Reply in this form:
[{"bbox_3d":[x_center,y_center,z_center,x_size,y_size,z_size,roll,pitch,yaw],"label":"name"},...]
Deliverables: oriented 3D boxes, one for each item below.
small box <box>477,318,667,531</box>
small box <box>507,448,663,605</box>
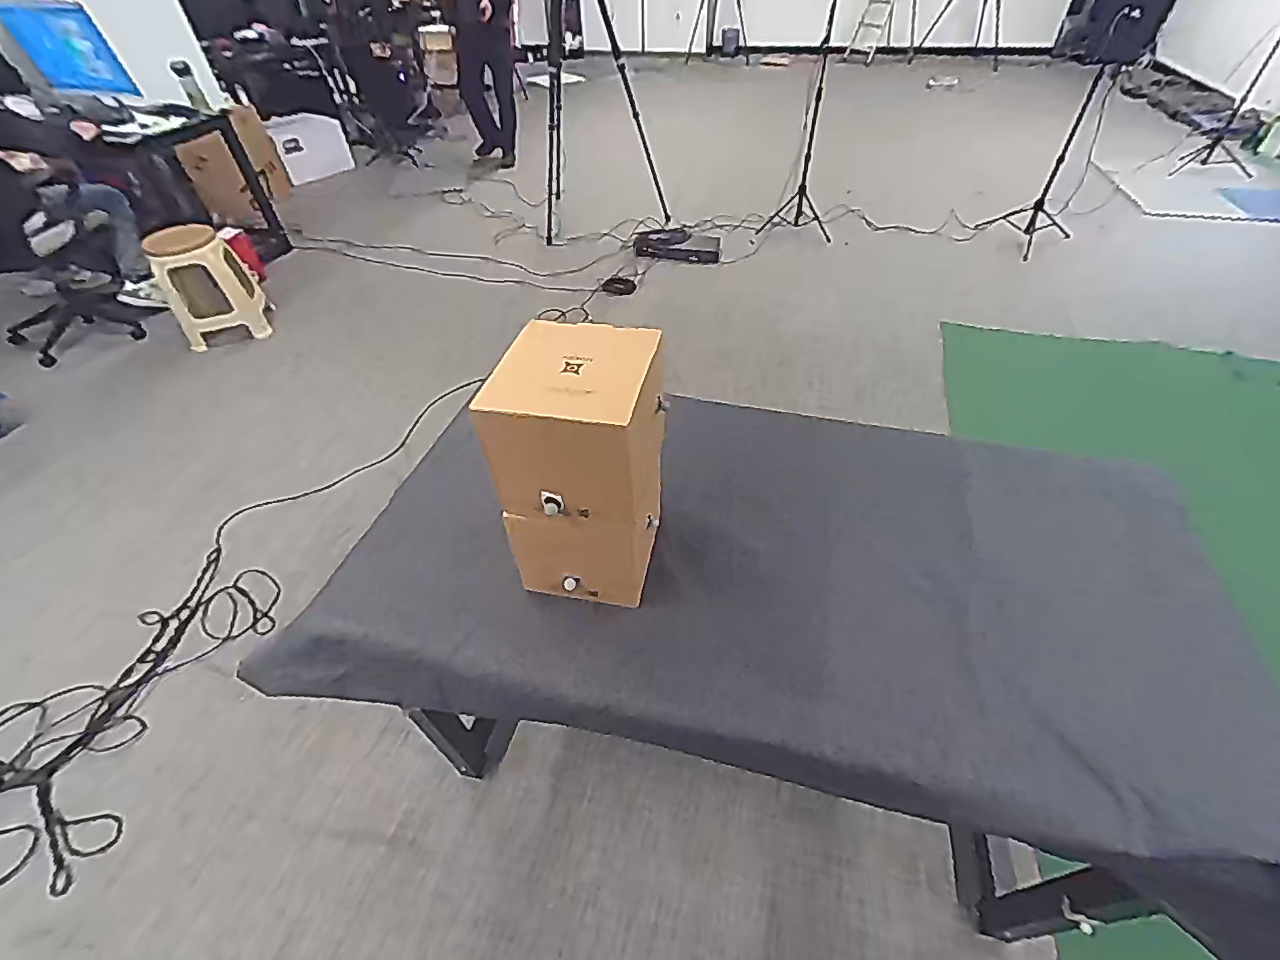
[{"bbox_3d":[-0.065,-0.067,0.636,0.168,0.176,0.179,7,47,10],"label":"small box"},{"bbox_3d":[-0.065,0.046,0.753,0.168,0.176,0.179,7,47,9],"label":"small box"}]
